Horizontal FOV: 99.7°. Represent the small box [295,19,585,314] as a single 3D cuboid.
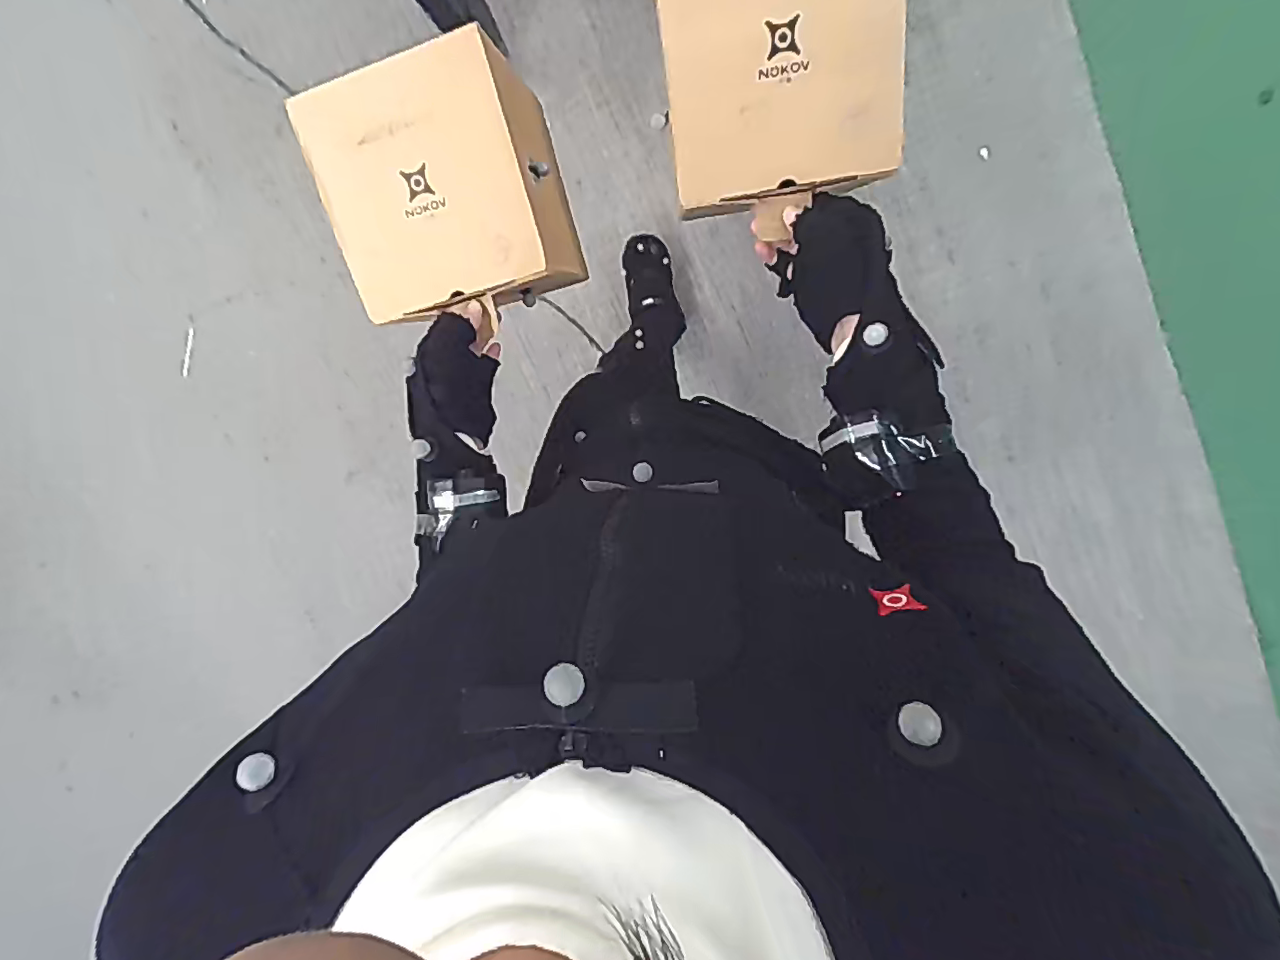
[{"bbox_3d":[-0.163,-0.268,0.509,0.168,0.176,0.179,-13,106,11],"label":"small box"}]
